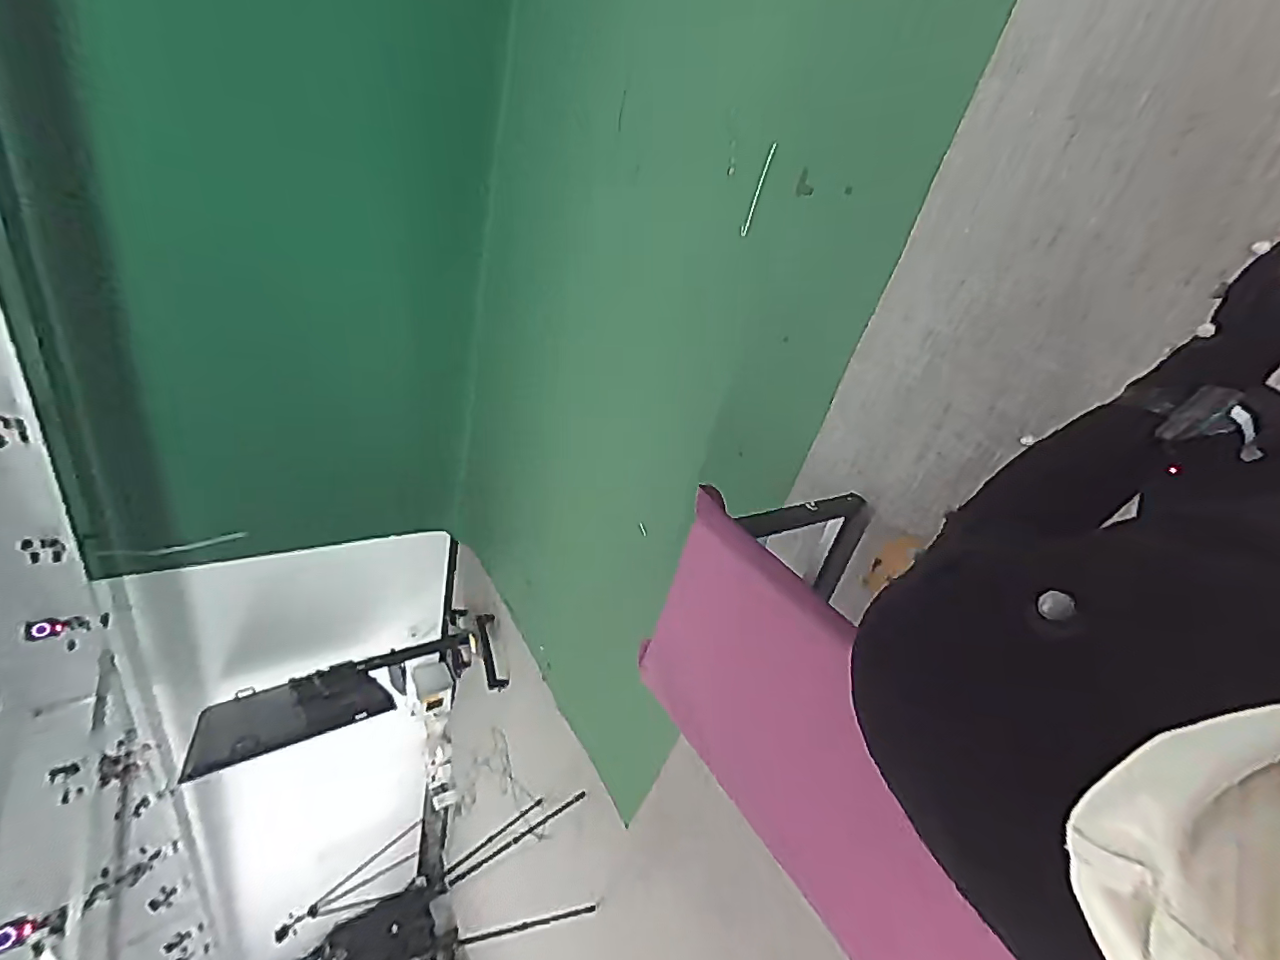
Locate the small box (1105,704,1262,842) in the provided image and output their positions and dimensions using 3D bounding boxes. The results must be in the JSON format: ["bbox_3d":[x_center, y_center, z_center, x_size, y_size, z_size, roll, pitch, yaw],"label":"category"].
[{"bbox_3d":[1.179,0.625,1.173,0.179,0.176,0.168,43,128,42],"label":"small box"}]
